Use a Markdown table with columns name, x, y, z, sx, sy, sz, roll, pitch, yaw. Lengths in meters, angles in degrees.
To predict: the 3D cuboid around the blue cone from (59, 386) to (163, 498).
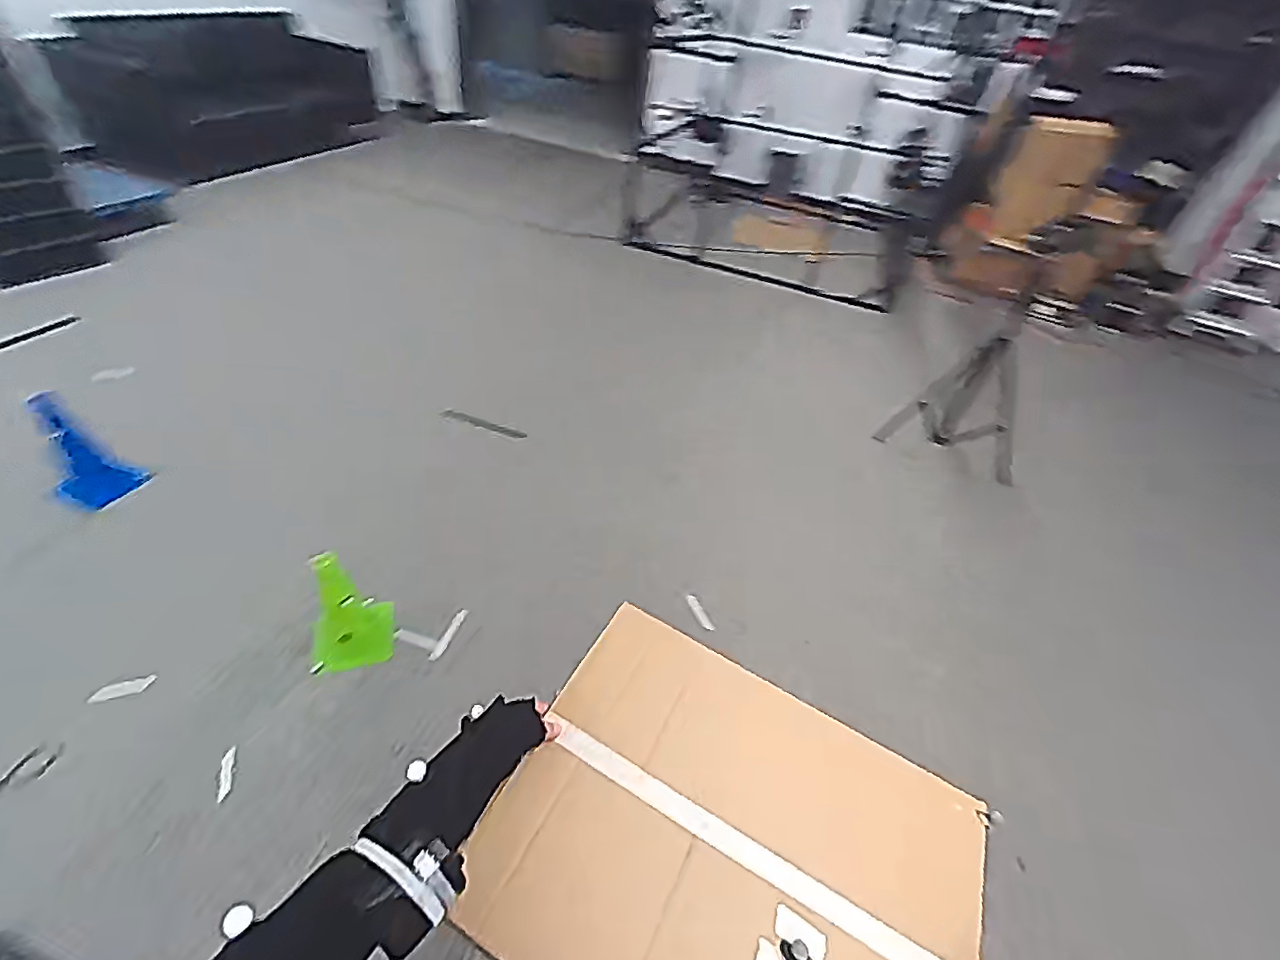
| name | x | y | z | sx | sy | sz | roll | pitch | yaw |
| --- | --- | --- | --- | --- | --- | --- | --- | --- | --- |
| blue cone | -1.785 | -0.138 | 1.768 | 0.193 | 0.380 | 0.192 | 22 | 42 | 11 |

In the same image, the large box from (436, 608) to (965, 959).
| name | x | y | z | sx | sy | sz | roll | pitch | yaw |
| --- | --- | --- | --- | --- | --- | --- | --- | --- | --- |
| large box | 0.055 | 0.417 | 0.581 | 0.408 | 0.320 | 0.320 | 26 | 47 | 13 |

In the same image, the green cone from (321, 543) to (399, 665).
| name | x | y | z | sx | sy | sz | roll | pitch | yaw |
| --- | --- | --- | --- | --- | --- | --- | --- | --- | --- |
| green cone | -0.789 | 0.309 | 1.469 | 0.200 | 0.368 | 0.202 | -6 | 44 | -19 |
